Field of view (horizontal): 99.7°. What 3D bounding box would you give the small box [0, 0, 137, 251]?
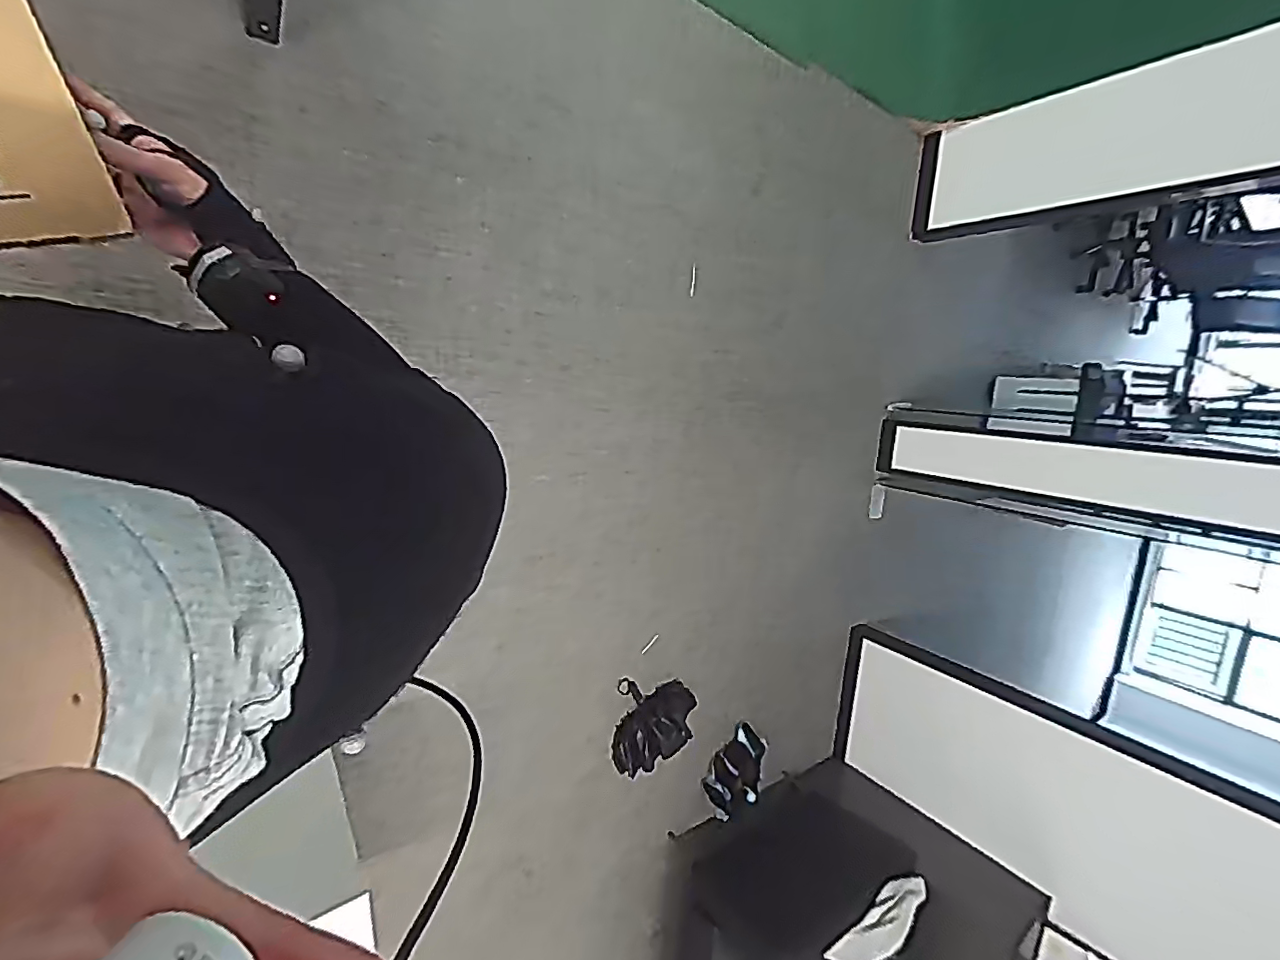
[{"bbox_3d":[-0.479,-0.247,0.353,0.168,0.176,0.179,-29,128,-35],"label":"small box"}]
